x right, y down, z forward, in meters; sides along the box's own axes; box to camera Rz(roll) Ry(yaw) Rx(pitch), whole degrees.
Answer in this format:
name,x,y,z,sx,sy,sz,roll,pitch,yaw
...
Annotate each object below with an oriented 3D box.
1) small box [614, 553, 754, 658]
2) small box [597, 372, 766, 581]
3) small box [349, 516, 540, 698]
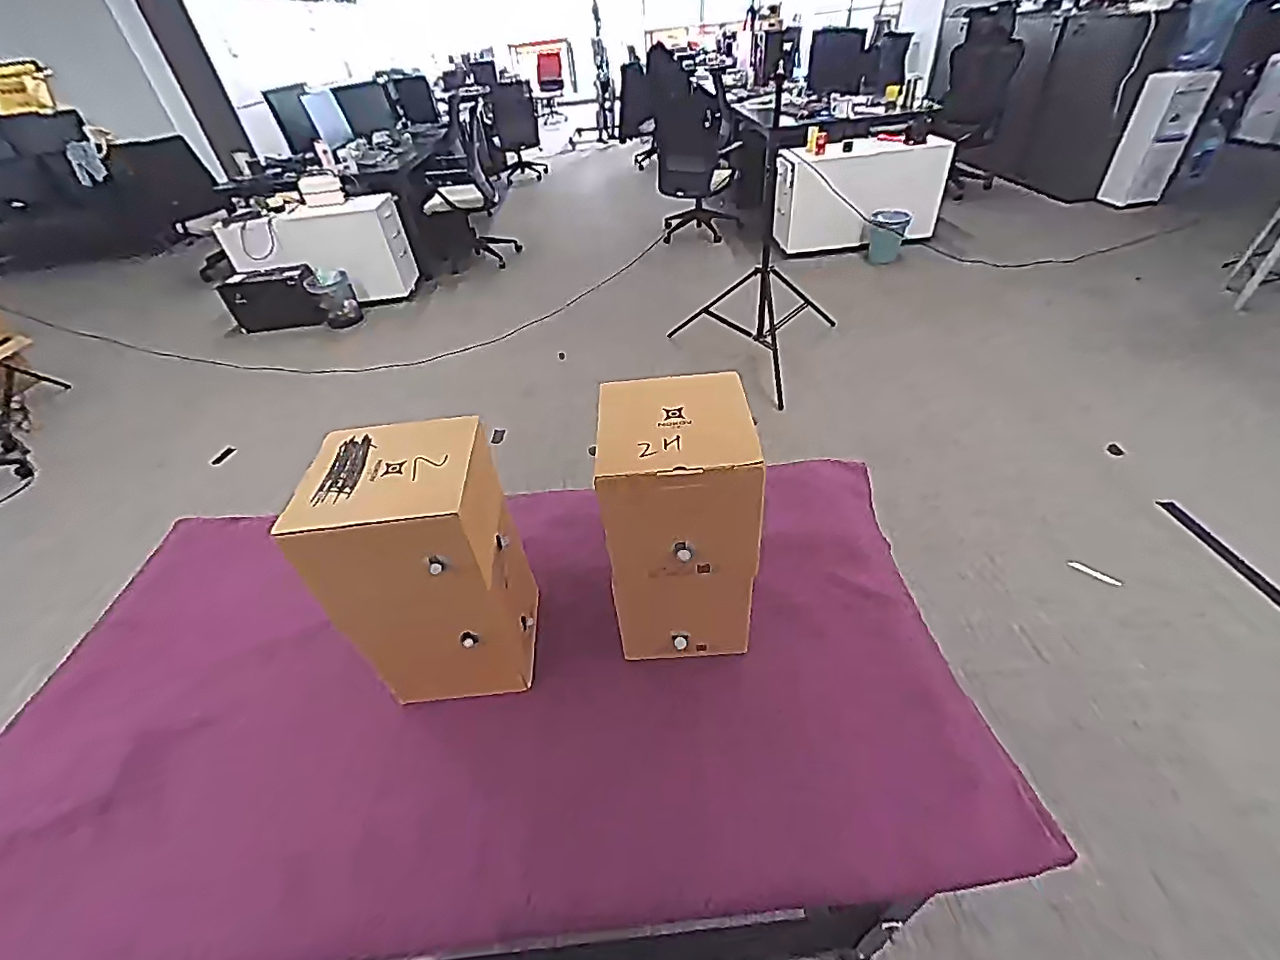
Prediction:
name,x,y,z,sx,sy,sz,roll,pitch,yaw
small box,0.056,0.119,0.738,0.168,0.176,0.179,-4,41,3
small box,0.045,-0.005,0.630,0.168,0.176,0.179,-5,41,3
small box,-0.242,0.171,0.719,0.179,0.176,0.168,-6,40,-1
